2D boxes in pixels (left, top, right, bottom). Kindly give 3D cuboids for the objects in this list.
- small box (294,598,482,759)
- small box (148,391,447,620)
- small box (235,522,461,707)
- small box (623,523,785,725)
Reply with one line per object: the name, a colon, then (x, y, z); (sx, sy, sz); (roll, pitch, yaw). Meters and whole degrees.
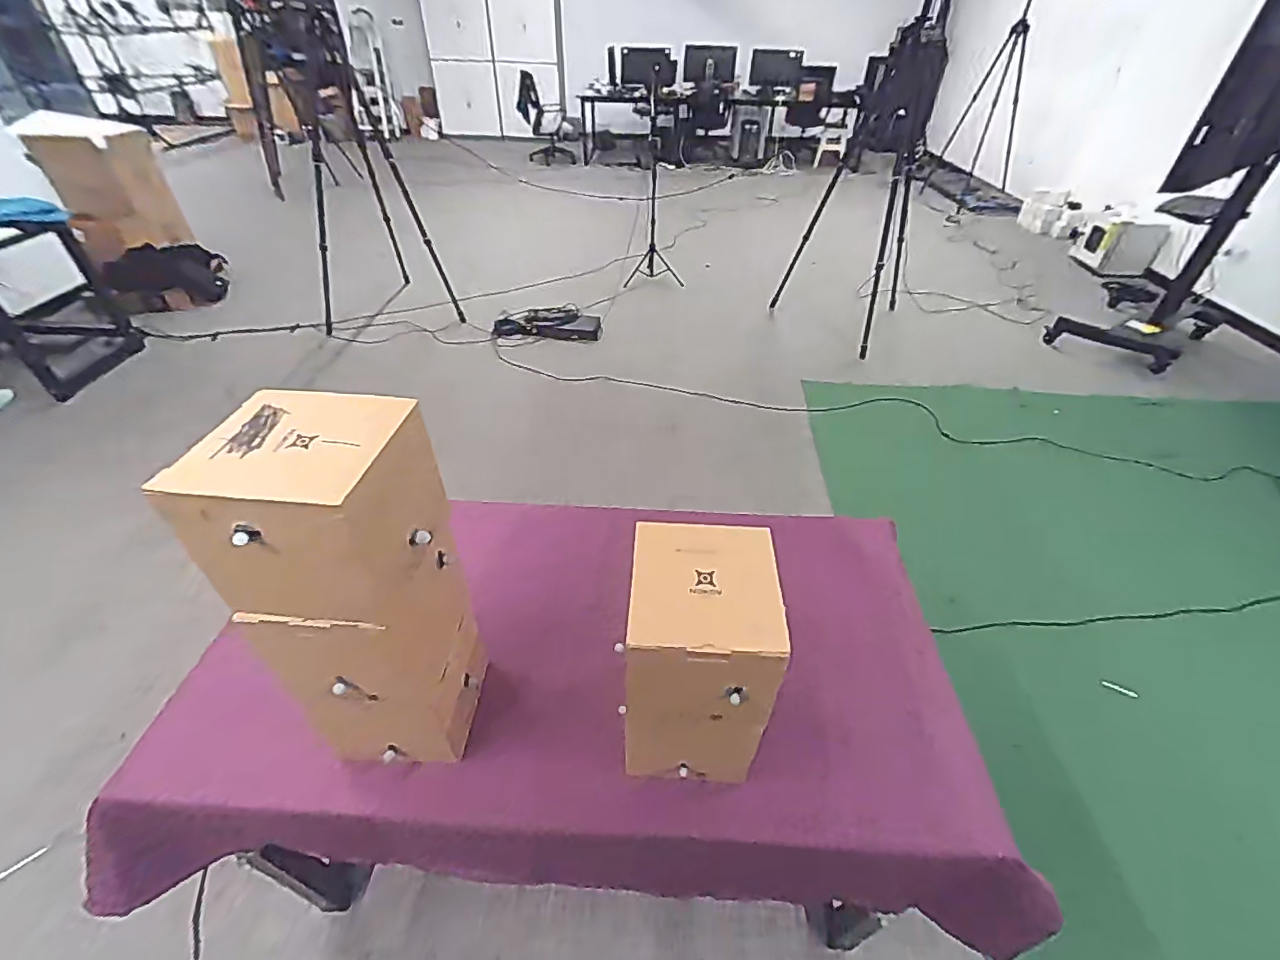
small box: (-0.338, 0.279, 0.771); (0.179, 0.176, 0.168); (3, 41, 0)
small box: (-0.324, 0.026, 0.559); (0.179, 0.176, 0.168); (5, 41, 2)
small box: (-0.333, 0.151, 0.666); (0.168, 0.176, 0.179); (3, 41, 2)
small box: (0.068, 0.175, 0.654); (0.168, 0.176, 0.179); (3, 41, 1)
